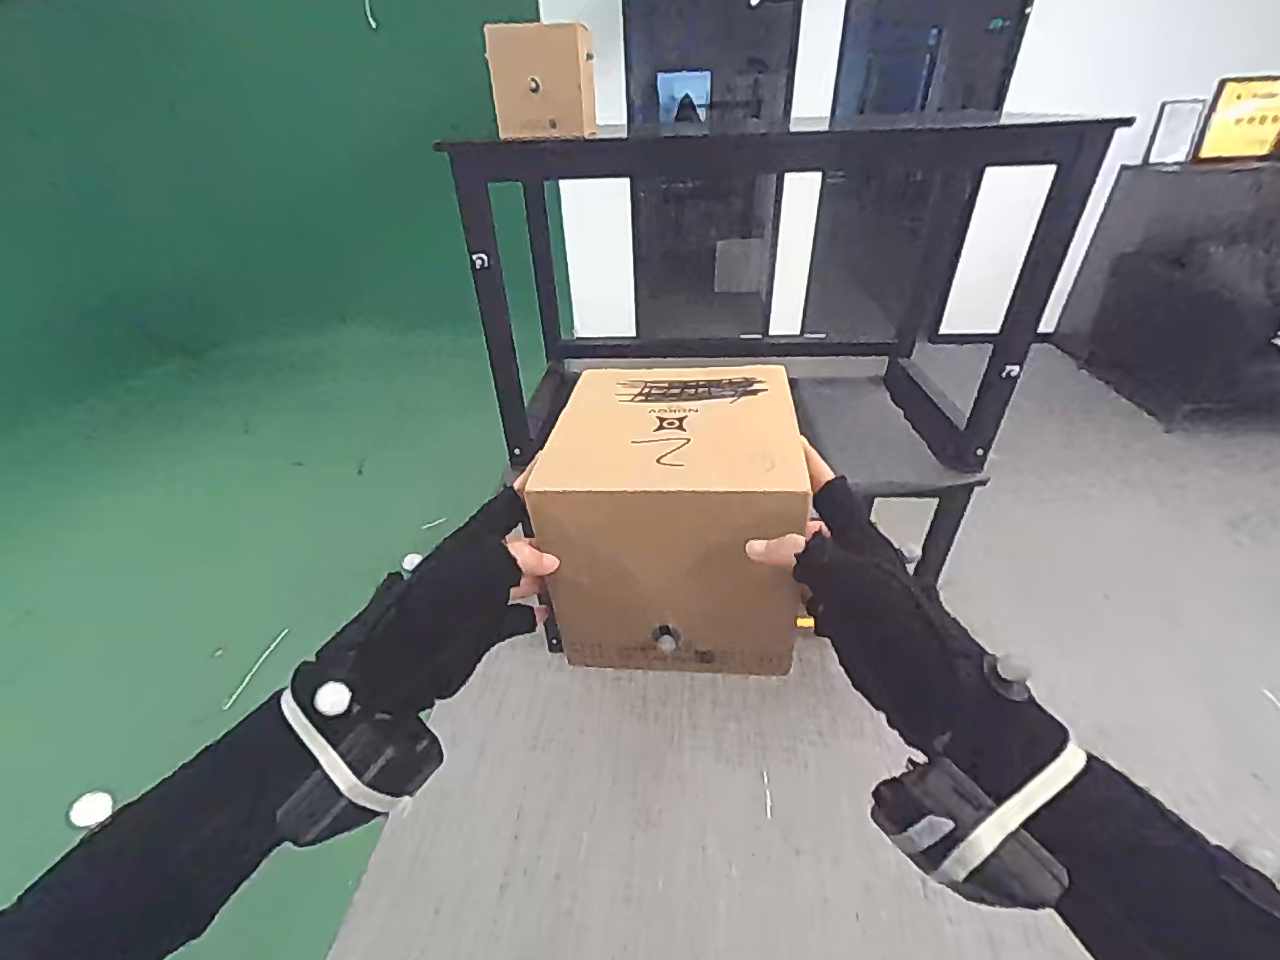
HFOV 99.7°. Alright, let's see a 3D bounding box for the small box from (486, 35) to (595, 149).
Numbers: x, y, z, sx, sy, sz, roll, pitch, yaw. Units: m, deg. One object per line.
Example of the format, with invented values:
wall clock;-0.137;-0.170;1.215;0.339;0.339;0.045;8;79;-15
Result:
small box;-0.181;-0.746;1.052;0.168;0.176;0.179;1;34;3
